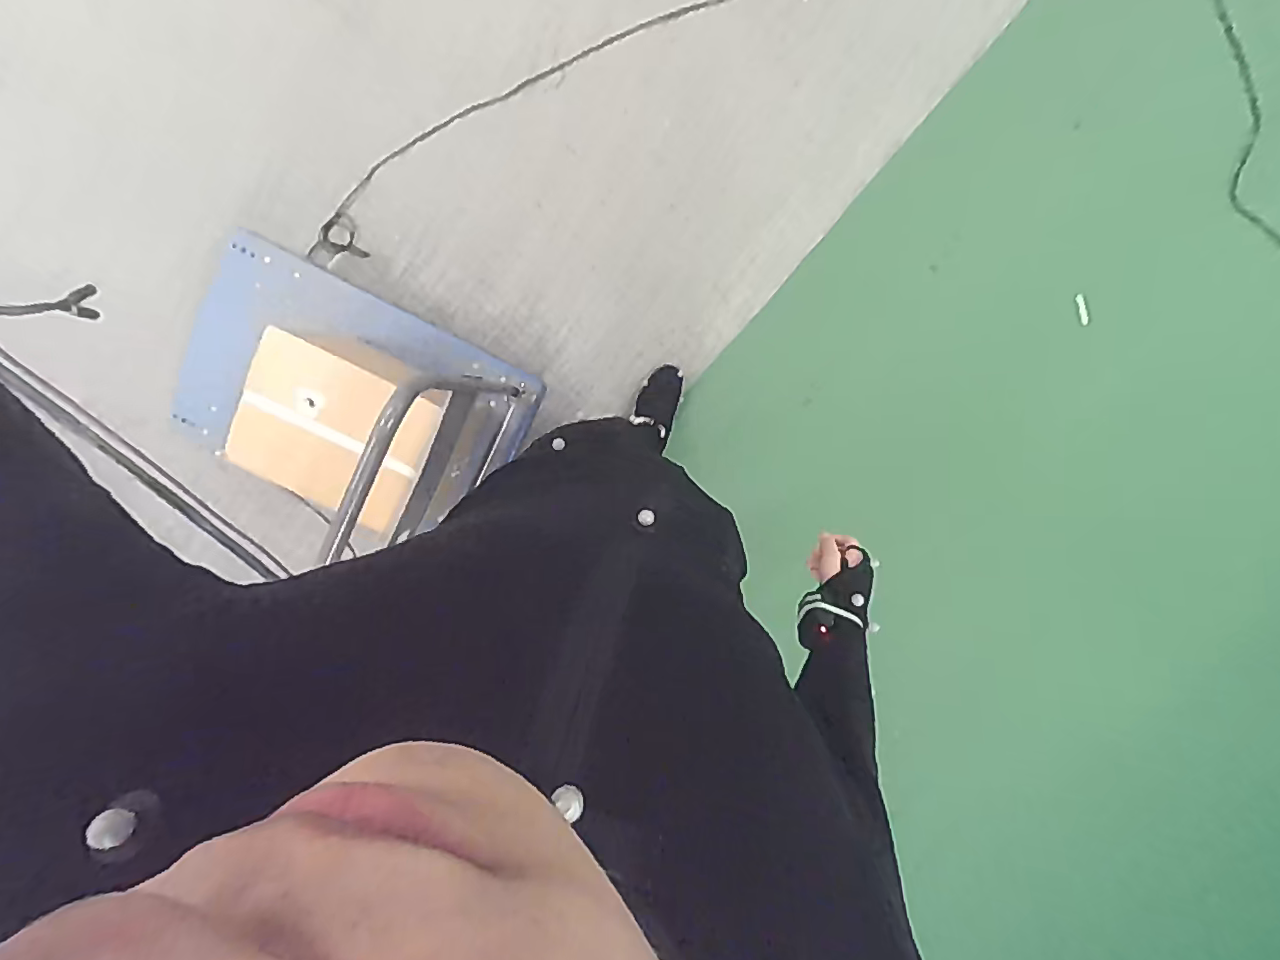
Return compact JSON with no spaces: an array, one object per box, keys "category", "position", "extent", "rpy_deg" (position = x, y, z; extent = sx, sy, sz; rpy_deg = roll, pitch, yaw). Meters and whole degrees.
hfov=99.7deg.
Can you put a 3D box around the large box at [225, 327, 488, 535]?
[{"category":"large box","position":[-0.638,-0.122,1.281],"extent":[0.408,0.320,0.320],"rpy_deg":[26,99,-3]}]
